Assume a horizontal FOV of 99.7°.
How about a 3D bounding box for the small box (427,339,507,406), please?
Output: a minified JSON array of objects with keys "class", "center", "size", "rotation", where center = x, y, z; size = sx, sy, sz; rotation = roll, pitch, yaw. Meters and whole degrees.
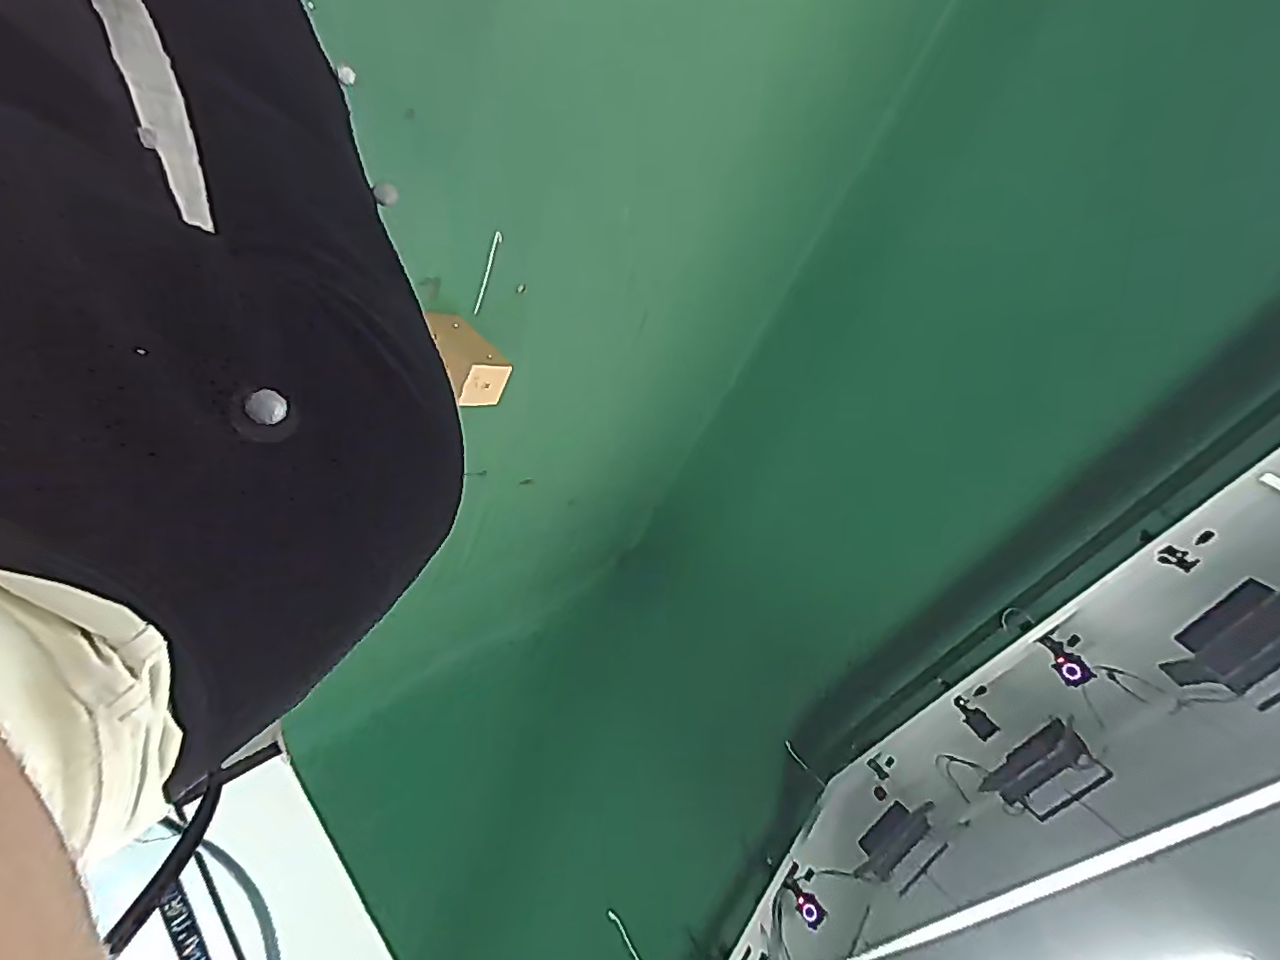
[{"class":"small box","center":[-0.606,-0.376,1.891],"size":[0.179,0.176,0.168],"rotation":[-13,141,-54]}]
